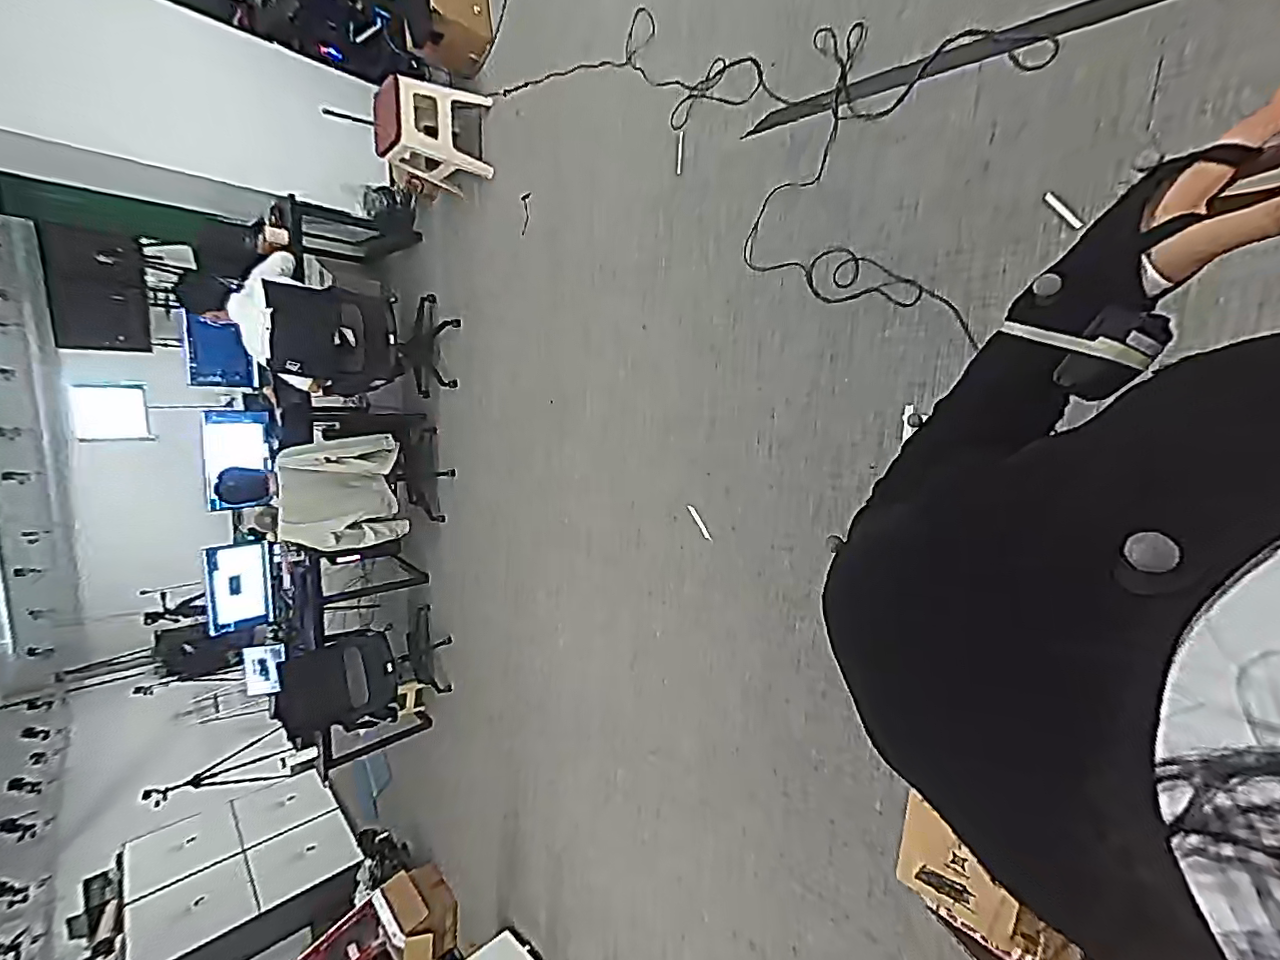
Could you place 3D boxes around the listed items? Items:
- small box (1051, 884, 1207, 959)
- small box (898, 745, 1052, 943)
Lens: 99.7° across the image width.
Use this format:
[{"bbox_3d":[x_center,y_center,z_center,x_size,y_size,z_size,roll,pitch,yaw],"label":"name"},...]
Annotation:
[{"bbox_3d":[0.685,0.743,0.767,0.168,0.176,0.179,13,103,43],"label":"small box"},{"bbox_3d":[0.552,0.580,0.889,0.168,0.176,0.179,13,102,45],"label":"small box"}]
